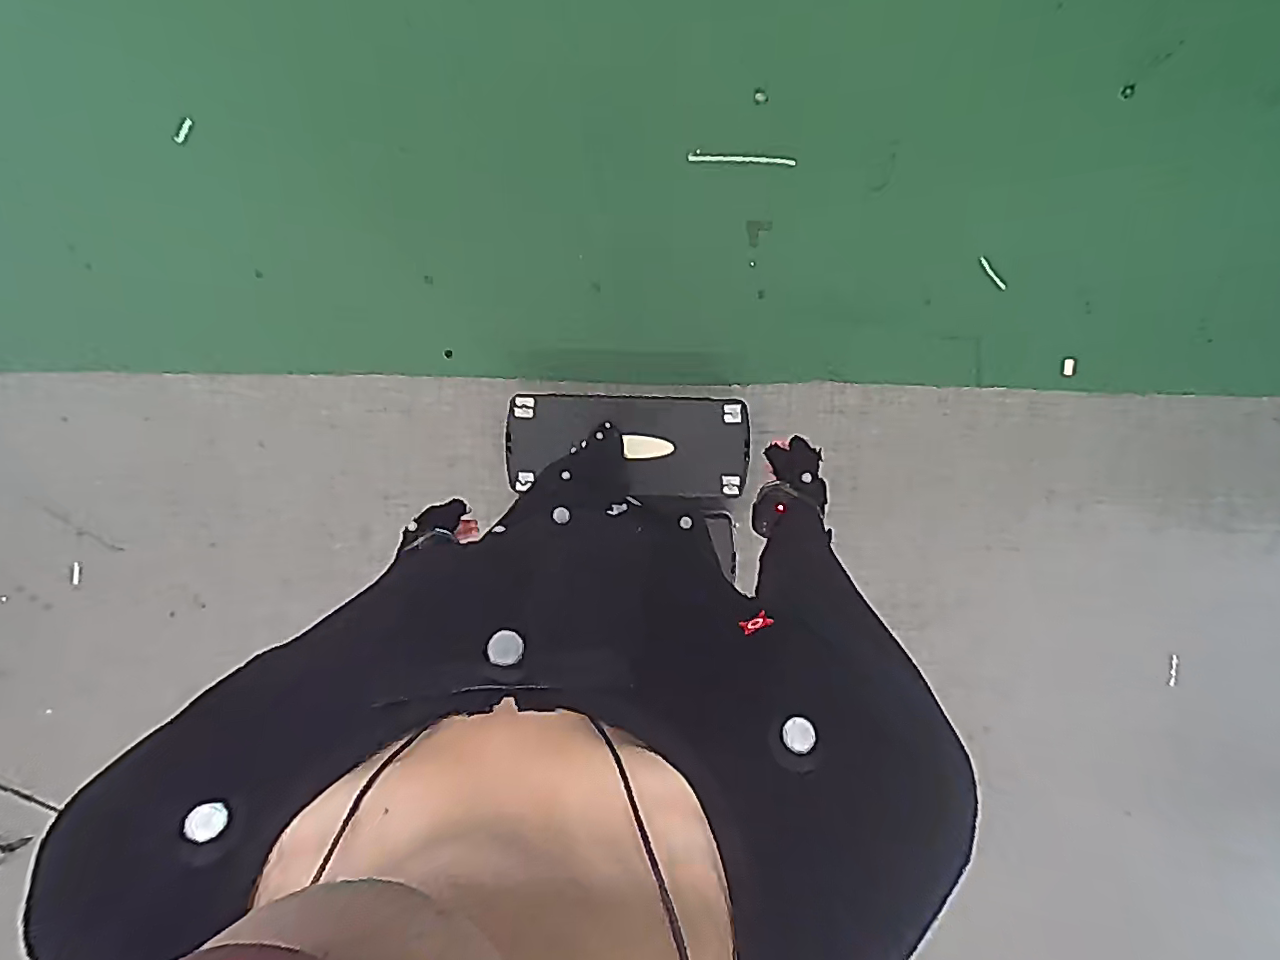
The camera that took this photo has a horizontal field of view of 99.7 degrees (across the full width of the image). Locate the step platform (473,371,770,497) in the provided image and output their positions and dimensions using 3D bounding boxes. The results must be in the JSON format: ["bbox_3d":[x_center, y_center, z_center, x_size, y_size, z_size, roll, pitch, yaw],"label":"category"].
[{"bbox_3d":[-0.043,-0.112,1.332,0.684,0.204,0.286,1,96,0],"label":"step platform"}]
